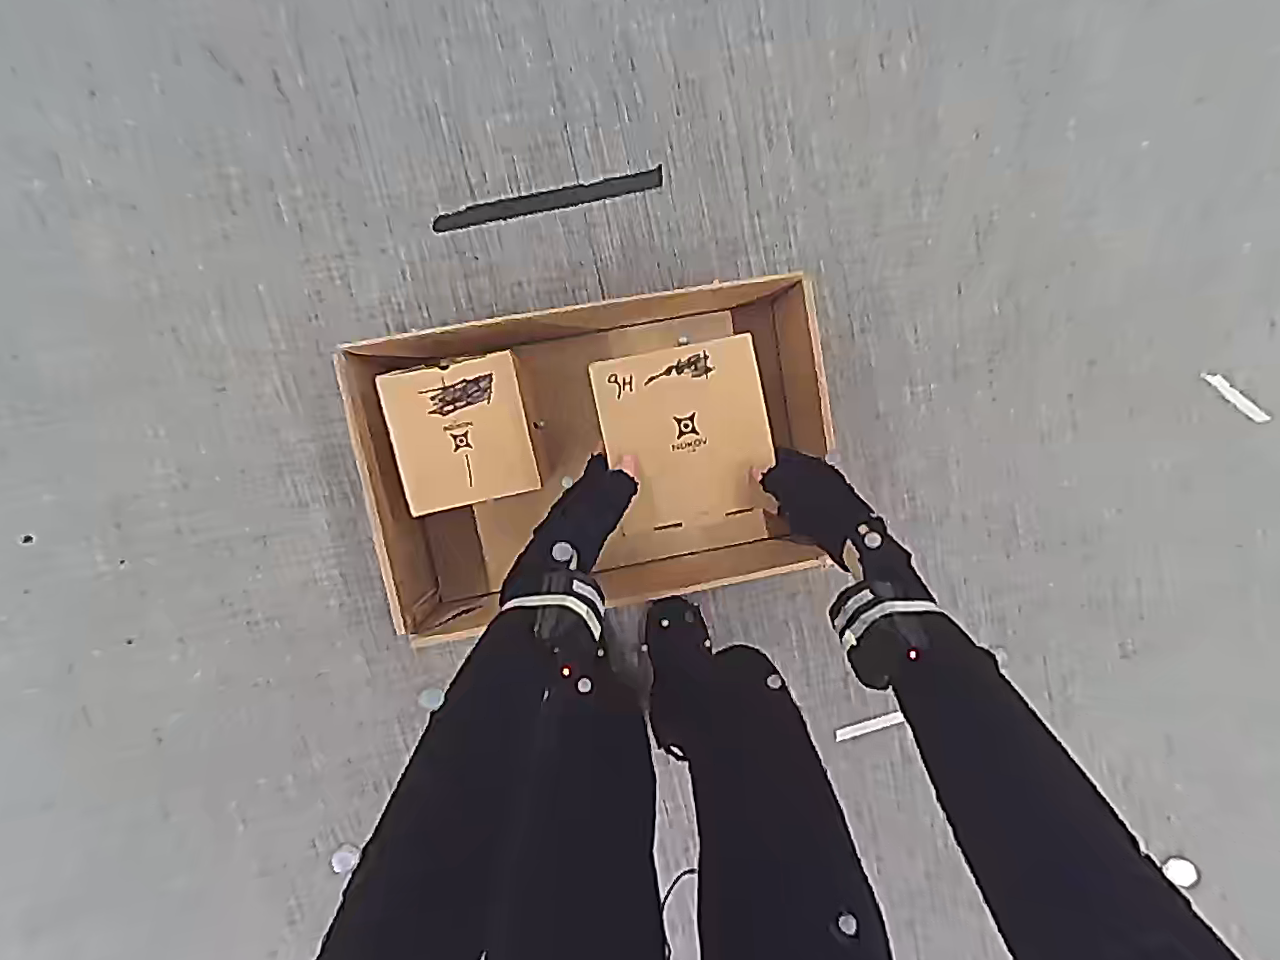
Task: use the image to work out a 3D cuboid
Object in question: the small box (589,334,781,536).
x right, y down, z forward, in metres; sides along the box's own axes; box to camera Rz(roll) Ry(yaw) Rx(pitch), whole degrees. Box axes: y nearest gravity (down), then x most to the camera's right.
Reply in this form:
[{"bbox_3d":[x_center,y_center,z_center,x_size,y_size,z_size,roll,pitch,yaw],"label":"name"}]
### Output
[{"bbox_3d":[0.043,-0.048,0.607,0.168,0.176,0.179,-12,93,-2],"label":"small box"}]
